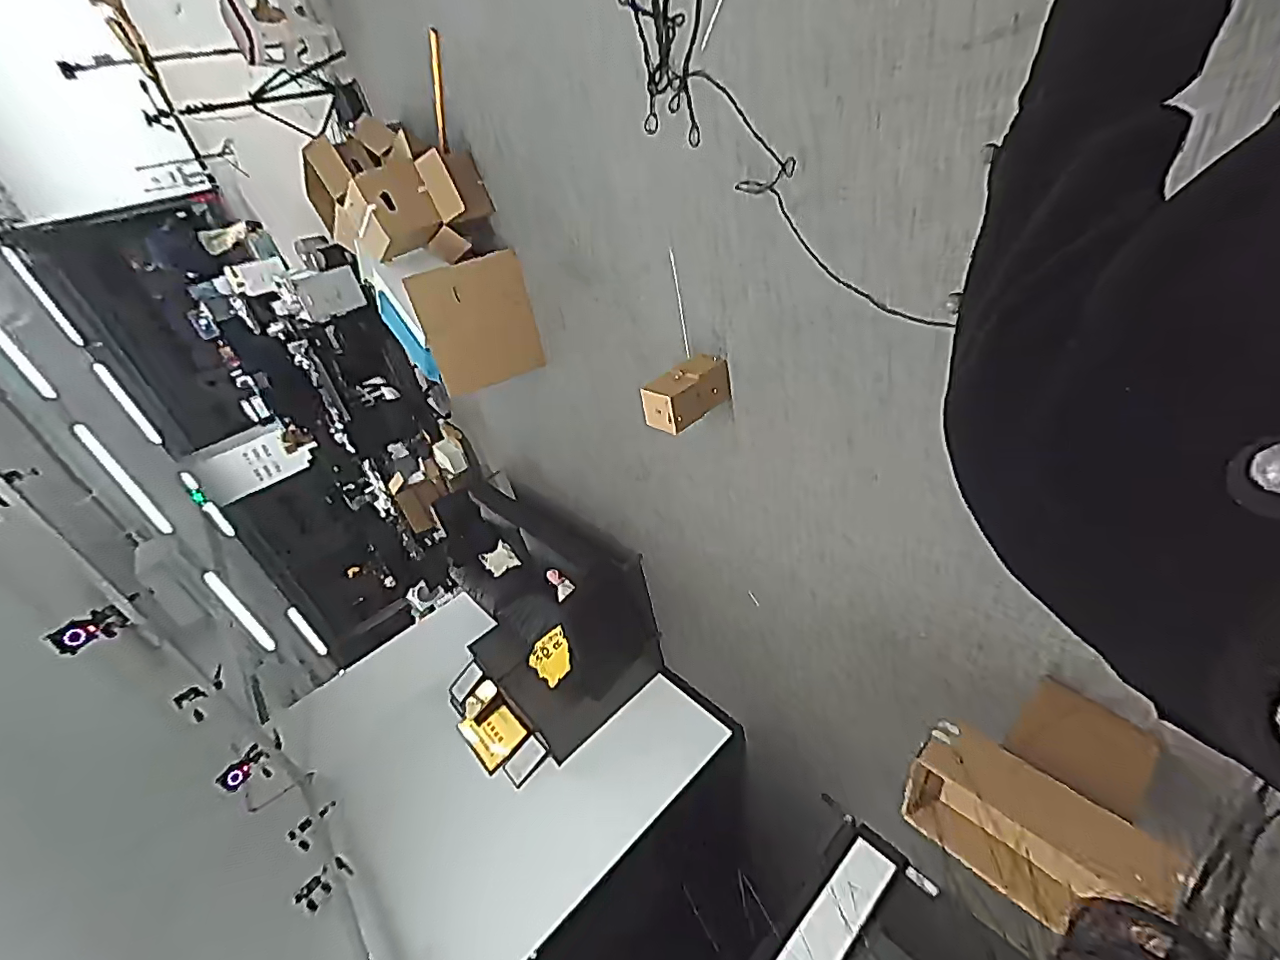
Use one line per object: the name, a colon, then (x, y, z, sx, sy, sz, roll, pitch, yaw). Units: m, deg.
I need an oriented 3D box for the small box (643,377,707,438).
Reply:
small box: (0.140, -0.293, 2.143, 0.179, 0.176, 0.168, 27, 141, 44)

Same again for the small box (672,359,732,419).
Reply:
small box: (0.259, -0.378, 2.217, 0.168, 0.176, 0.179, 25, 140, 45)
